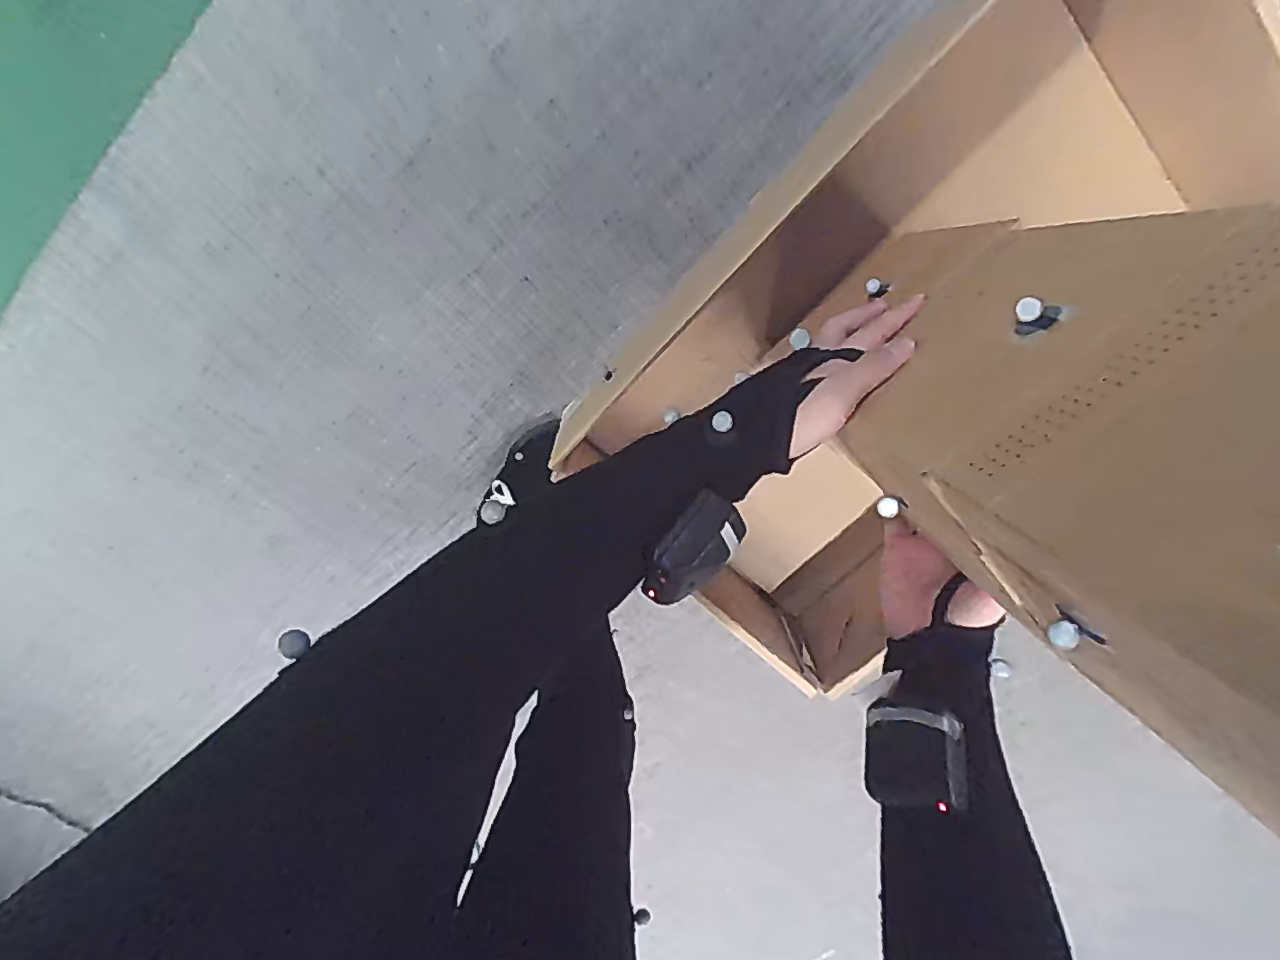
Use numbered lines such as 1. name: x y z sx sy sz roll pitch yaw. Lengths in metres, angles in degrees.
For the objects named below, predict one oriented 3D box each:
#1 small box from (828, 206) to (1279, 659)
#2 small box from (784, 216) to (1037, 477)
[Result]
1. small box: 0.254 -0.036 0.338 0.179 0.176 0.168 -41 107 12
2. small box: 0.253 -0.102 0.490 0.179 0.176 0.168 -42 107 11
